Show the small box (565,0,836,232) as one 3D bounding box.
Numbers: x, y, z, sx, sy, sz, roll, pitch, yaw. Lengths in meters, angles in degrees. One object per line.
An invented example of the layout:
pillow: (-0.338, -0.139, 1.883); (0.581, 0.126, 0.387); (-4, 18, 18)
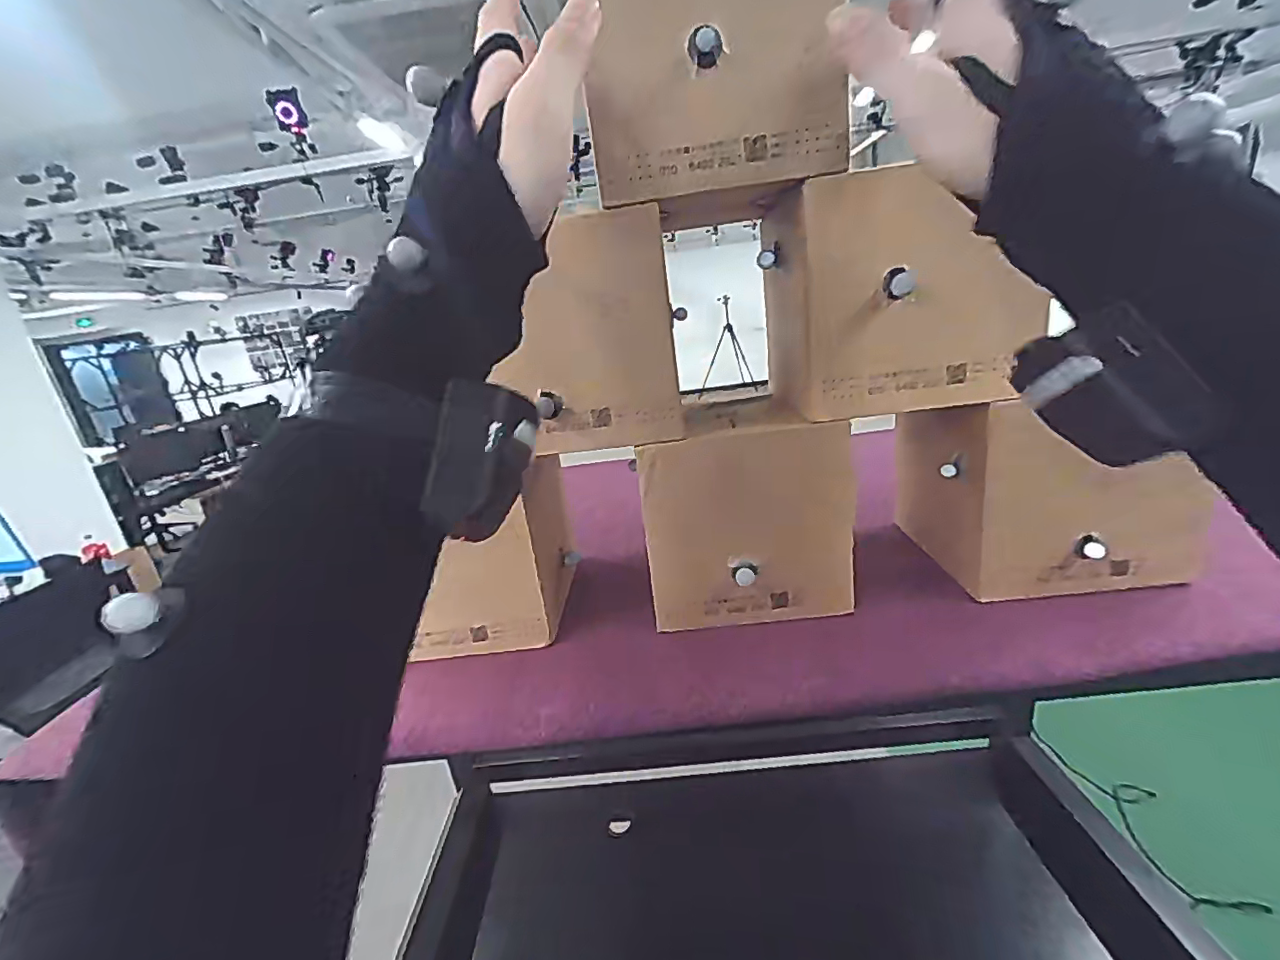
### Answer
small box: (0.042, -0.295, 0.409); (0.168, 0.176, 0.179); (-6, 17, 4)

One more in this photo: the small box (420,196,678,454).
small box: (-0.059, -0.127, 0.467); (0.168, 0.176, 0.179); (-7, 18, 5)

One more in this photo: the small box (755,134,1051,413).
small box: (0.196, -0.154, 0.448); (0.168, 0.176, 0.179); (-6, 17, 4)

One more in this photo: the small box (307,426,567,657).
small box: (-0.170, 0.044, 0.517); (0.168, 0.176, 0.179); (-7, 16, 2)
